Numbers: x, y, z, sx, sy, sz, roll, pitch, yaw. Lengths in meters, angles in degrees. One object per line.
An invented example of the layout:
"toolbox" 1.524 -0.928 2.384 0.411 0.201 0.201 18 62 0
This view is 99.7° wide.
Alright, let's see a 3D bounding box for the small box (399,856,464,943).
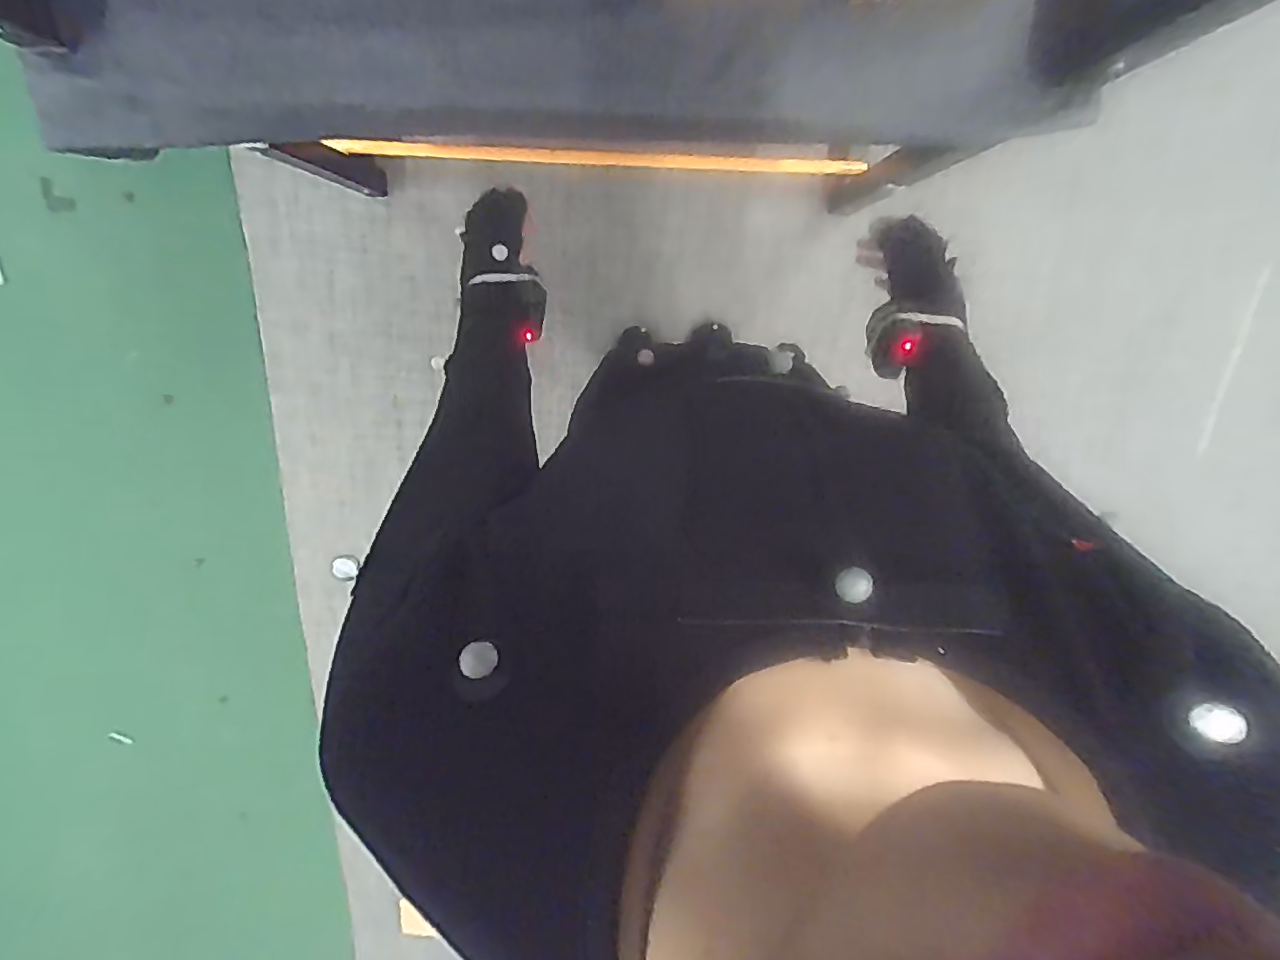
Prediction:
"small box" -0.728 1.471 1.899 0.168 0.176 0.179 5 106 0
